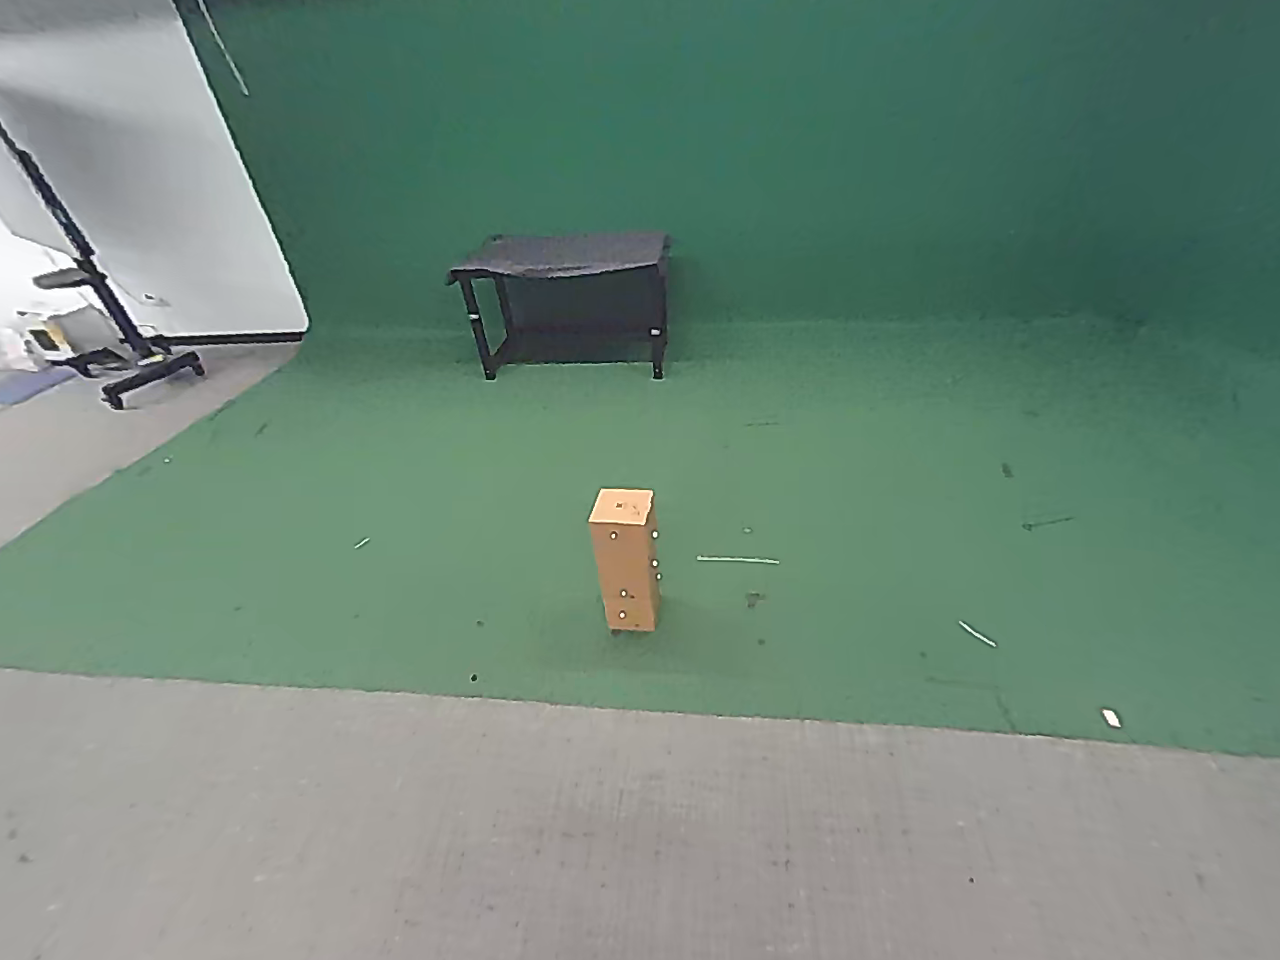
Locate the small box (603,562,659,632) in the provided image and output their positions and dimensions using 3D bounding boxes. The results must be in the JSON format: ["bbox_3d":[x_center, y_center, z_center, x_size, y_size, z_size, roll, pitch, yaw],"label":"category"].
[{"bbox_3d":[-0.025,0.410,1.890,0.168,0.176,0.179,1,36,9],"label":"small box"}]

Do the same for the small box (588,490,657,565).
[{"bbox_3d":[-0.049,0.148,1.691,0.179,0.176,0.168,3,37,11],"label":"small box"}]
